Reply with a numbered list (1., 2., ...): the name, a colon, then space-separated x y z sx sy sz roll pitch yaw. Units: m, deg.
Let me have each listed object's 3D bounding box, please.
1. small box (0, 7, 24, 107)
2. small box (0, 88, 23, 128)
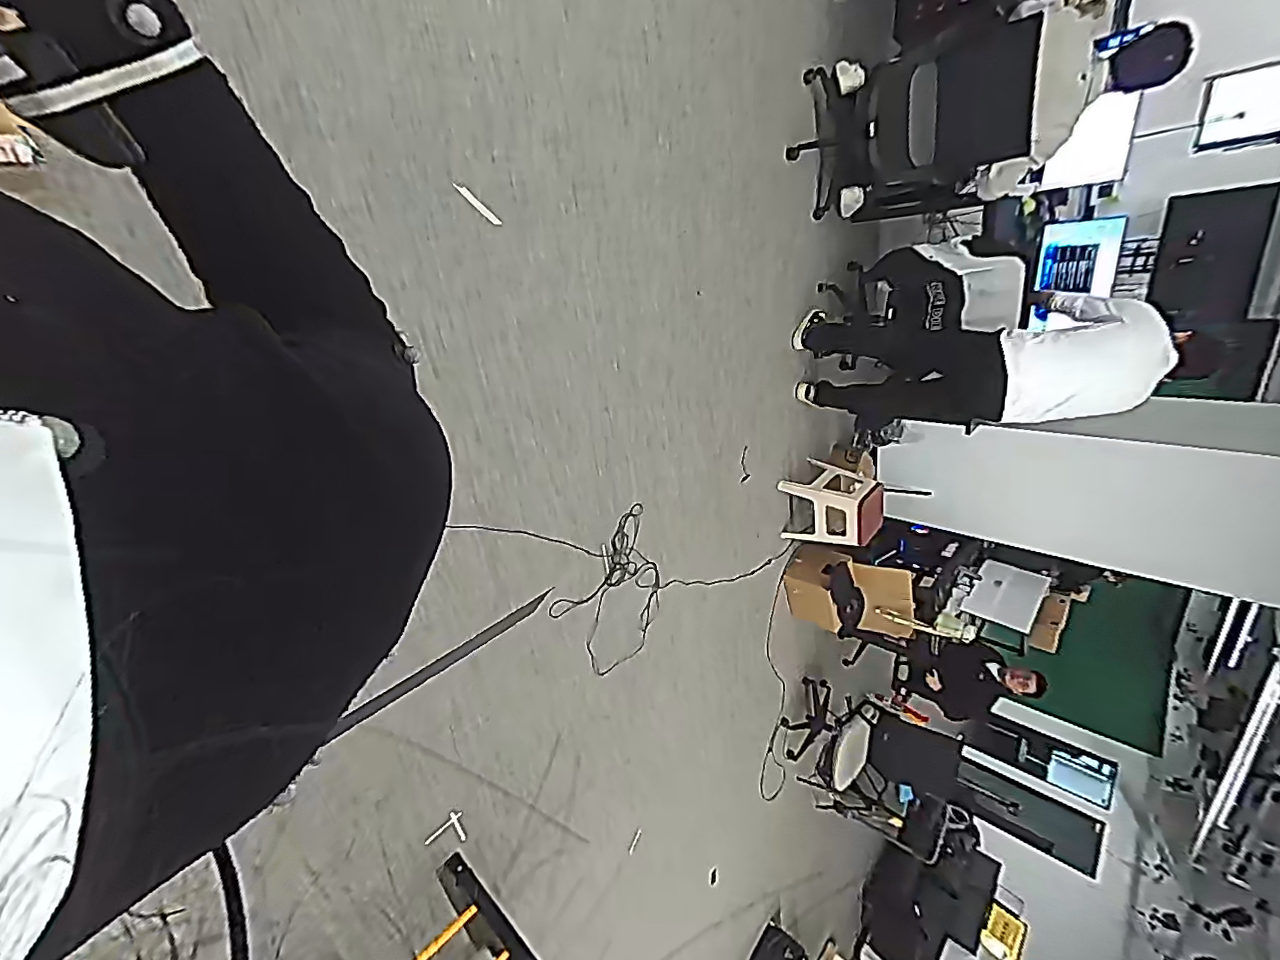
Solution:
1. small box: -0.631 -0.411 0.410 0.168 0.176 0.179 -29 123 -41
2. small box: -0.756 -0.441 0.513 0.179 0.176 0.168 -32 124 -39
